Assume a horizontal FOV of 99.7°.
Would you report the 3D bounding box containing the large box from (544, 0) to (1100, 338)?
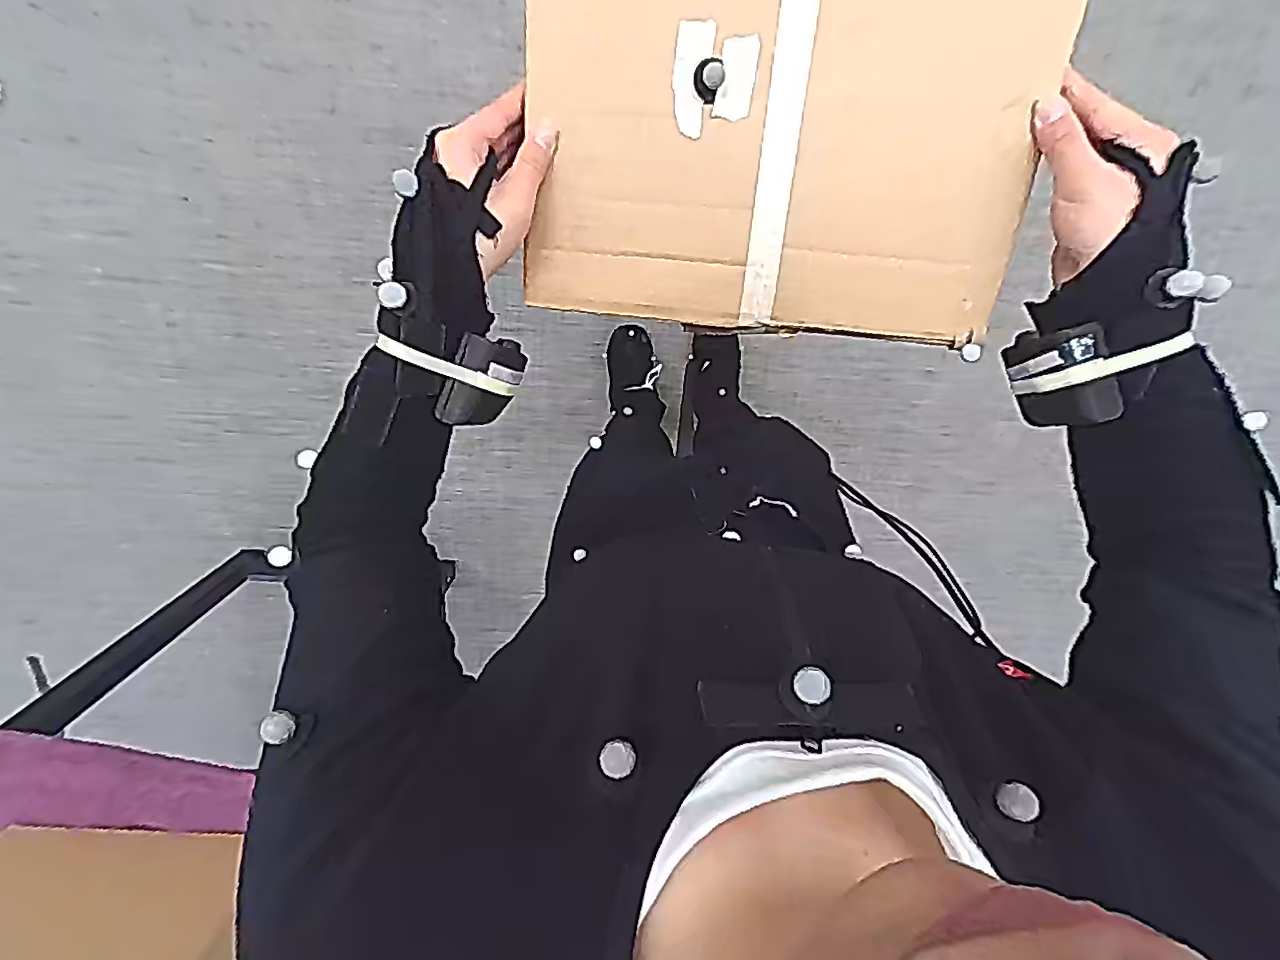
[{"bbox_3d":[0.108,-0.345,0.430,0.320,0.320,0.408,5,111,2],"label":"large box"}]
